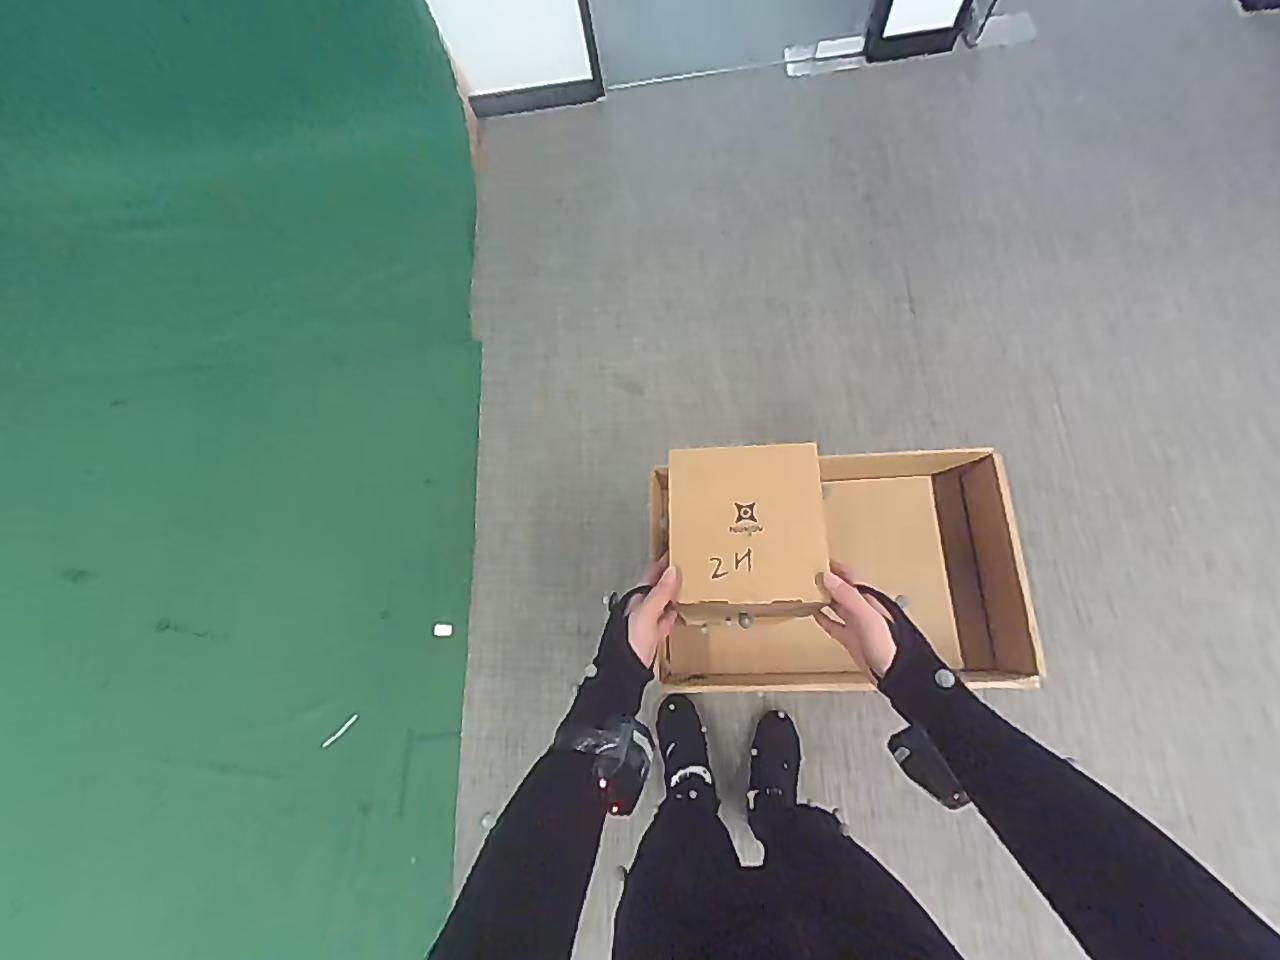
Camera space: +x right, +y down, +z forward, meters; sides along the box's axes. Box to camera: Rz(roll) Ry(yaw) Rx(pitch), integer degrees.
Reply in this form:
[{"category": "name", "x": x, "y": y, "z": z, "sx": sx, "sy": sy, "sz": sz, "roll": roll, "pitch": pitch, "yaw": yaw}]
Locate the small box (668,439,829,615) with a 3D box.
[{"category": "small box", "x": 0.124, "y": 0.064, "z": 0.656, "sx": 0.168, "sy": 0.176, "sz": 0.179, "roll": -2, "pitch": 70, "yaw": 9}]
